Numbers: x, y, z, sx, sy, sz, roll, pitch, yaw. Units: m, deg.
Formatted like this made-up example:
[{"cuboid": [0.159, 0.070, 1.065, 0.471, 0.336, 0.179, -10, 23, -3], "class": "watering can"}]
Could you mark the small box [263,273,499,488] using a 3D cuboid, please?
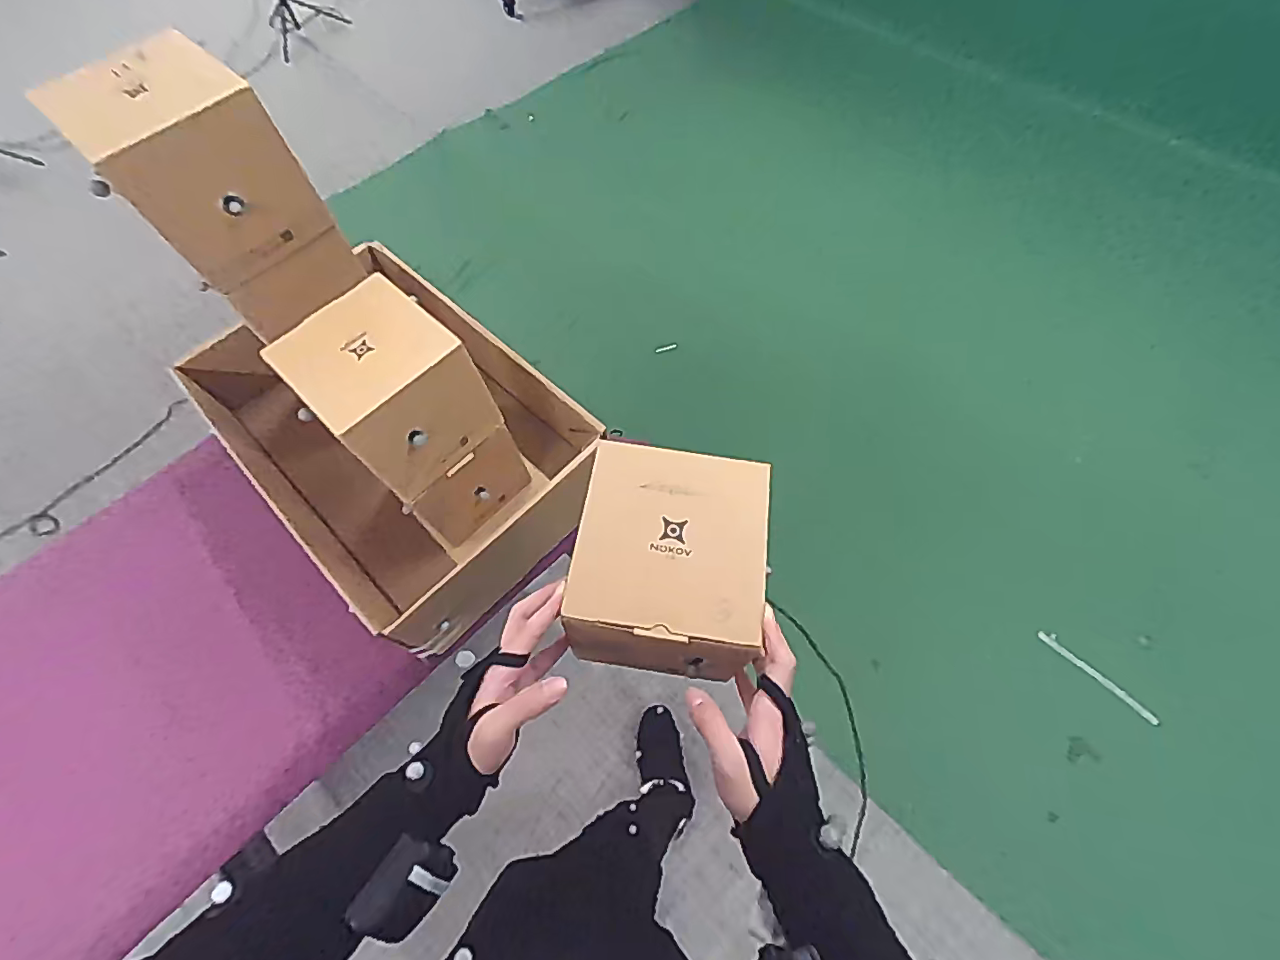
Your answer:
[{"cuboid": [-0.306, -0.112, 0.676, 0.179, 0.176, 0.168, 39, 73, 22], "class": "small box"}]

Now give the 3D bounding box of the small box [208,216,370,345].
[{"cuboid": [-0.503, -0.293, 0.772, 0.179, 0.176, 0.168, 40, 72, 18], "class": "small box"}]

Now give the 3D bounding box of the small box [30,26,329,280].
[{"cuboid": [-0.506, -0.363, 0.622, 0.179, 0.176, 0.168, 40, 72, 19], "class": "small box"}]

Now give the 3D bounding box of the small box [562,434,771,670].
[{"cuboid": [0.028, 0.081, 0.544, 0.168, 0.176, 0.179, 9, 61, 3], "class": "small box"}]
